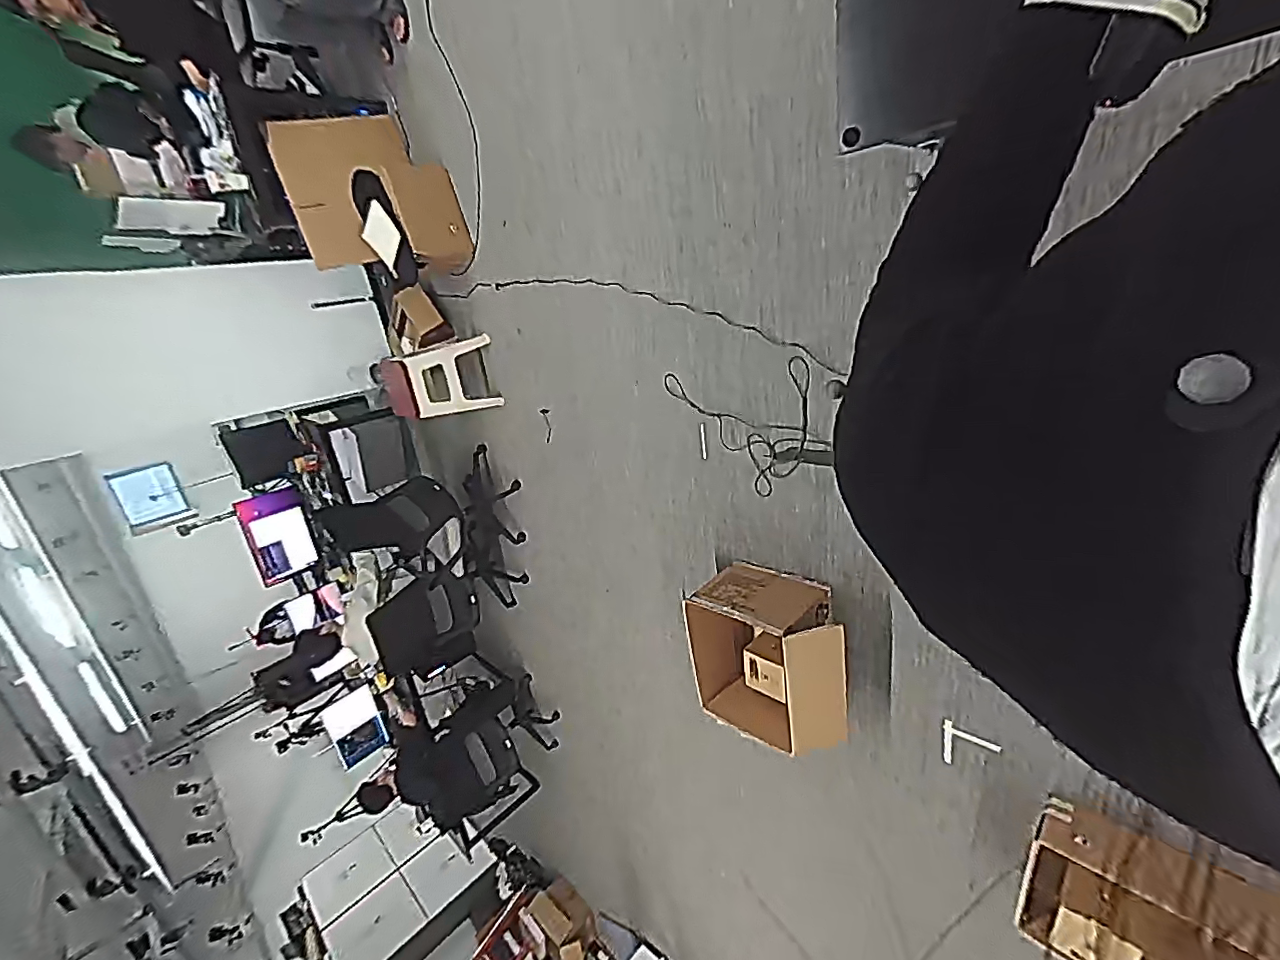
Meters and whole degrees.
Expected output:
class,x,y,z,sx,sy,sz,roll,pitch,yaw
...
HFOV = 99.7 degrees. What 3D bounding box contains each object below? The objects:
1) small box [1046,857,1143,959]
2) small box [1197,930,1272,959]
class,x,y,z,sx,sy,sz,roll,pitch,yaw
small box,1.227,1.180,1.459,0.168,0.176,0.179,17,119,41
small box,1.430,1.218,1.256,0.179,0.176,0.168,16,119,44
